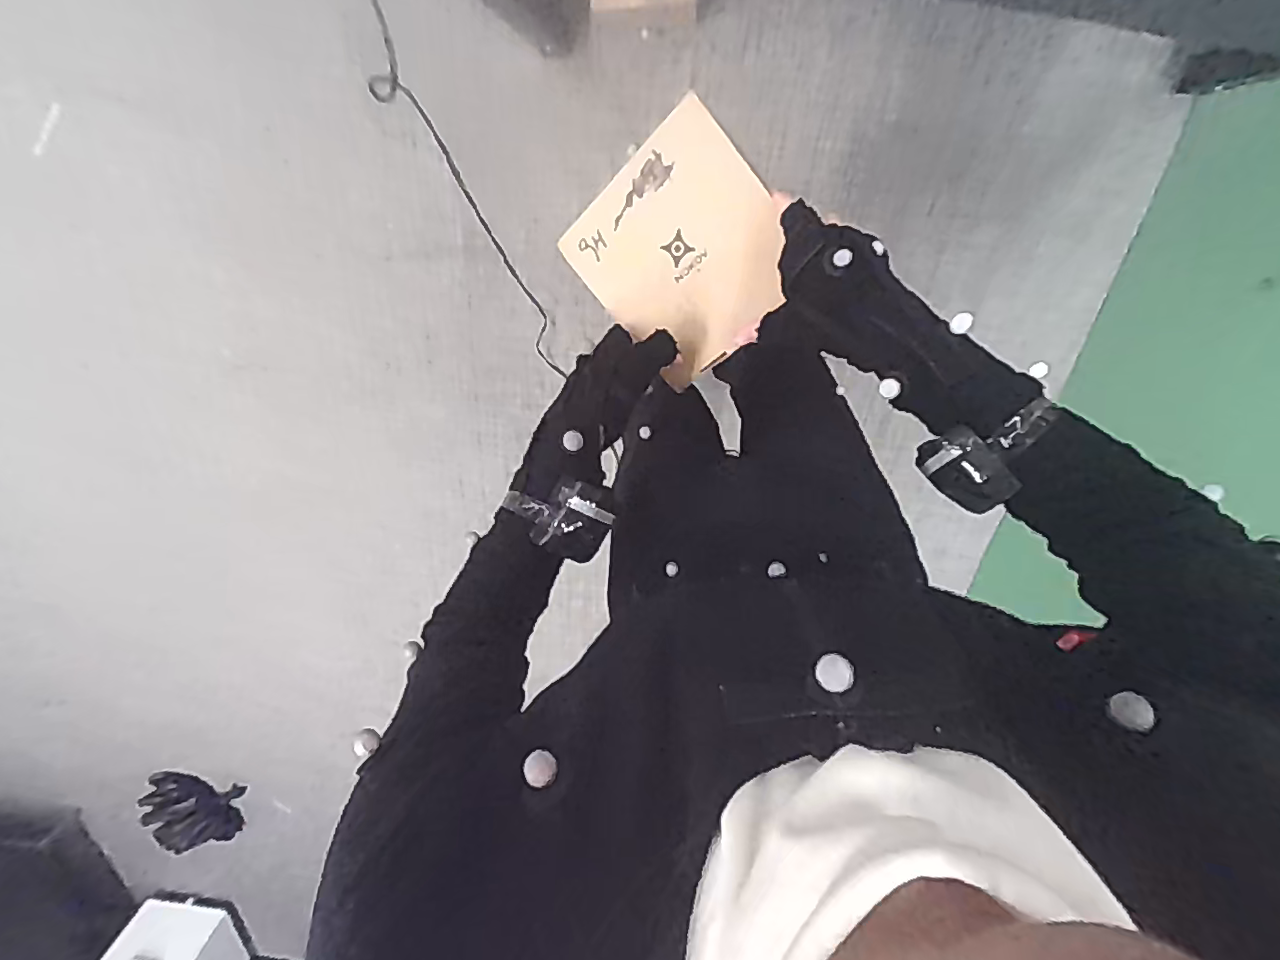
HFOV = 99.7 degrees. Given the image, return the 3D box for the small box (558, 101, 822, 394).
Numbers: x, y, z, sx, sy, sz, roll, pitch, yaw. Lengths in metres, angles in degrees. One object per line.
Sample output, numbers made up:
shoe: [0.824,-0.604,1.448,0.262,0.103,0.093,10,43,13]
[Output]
small box: [0.060,-0.218,0.529,0.168,0.176,0.179,-36,100,28]
